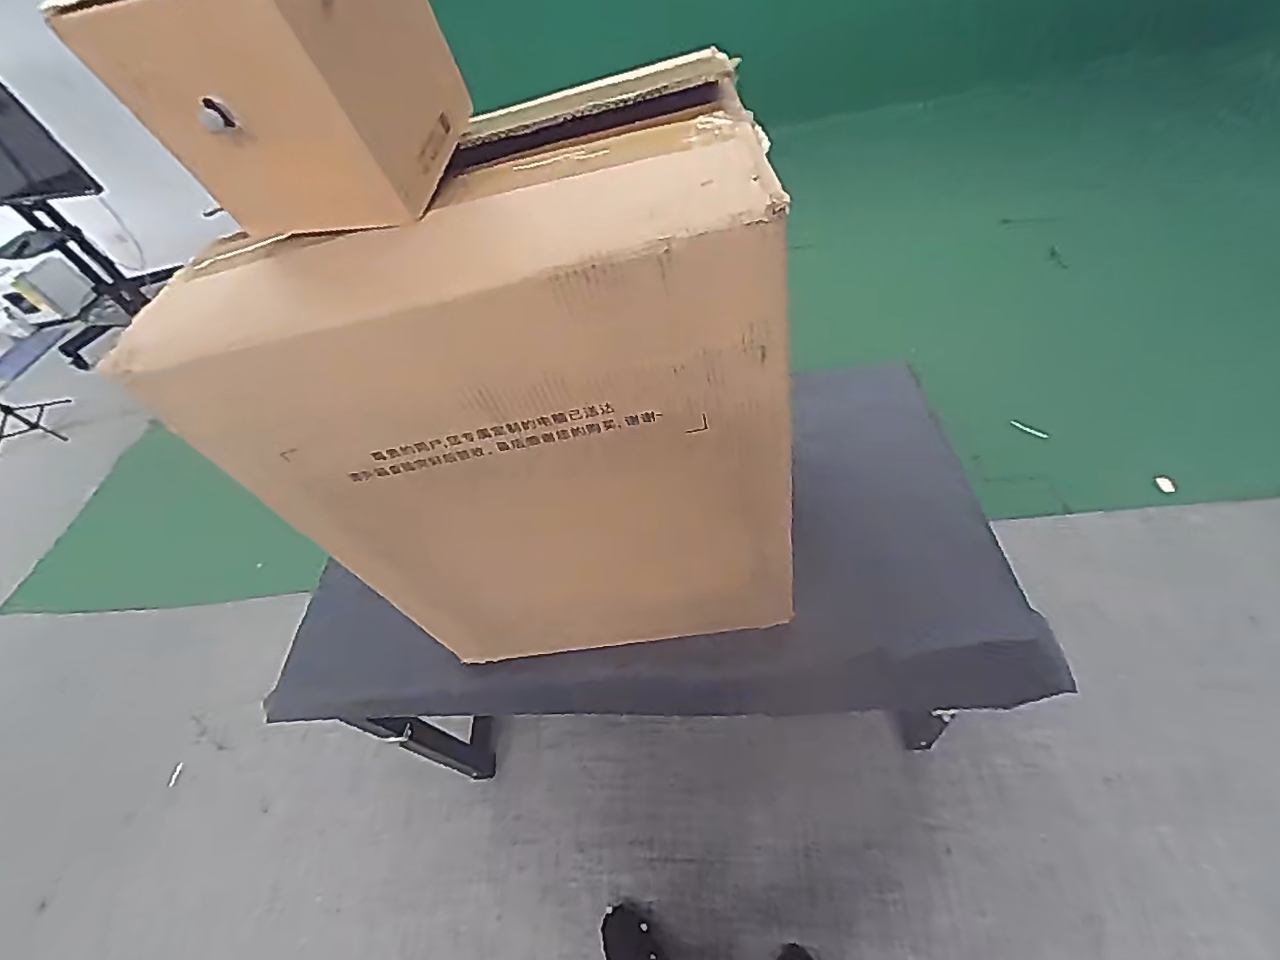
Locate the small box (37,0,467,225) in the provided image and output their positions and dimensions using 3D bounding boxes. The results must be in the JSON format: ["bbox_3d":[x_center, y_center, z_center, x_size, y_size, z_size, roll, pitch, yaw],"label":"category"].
[{"bbox_3d":[-0.271,-0.325,0.423,0.179,0.176,0.168,3,65,15],"label":"small box"}]
